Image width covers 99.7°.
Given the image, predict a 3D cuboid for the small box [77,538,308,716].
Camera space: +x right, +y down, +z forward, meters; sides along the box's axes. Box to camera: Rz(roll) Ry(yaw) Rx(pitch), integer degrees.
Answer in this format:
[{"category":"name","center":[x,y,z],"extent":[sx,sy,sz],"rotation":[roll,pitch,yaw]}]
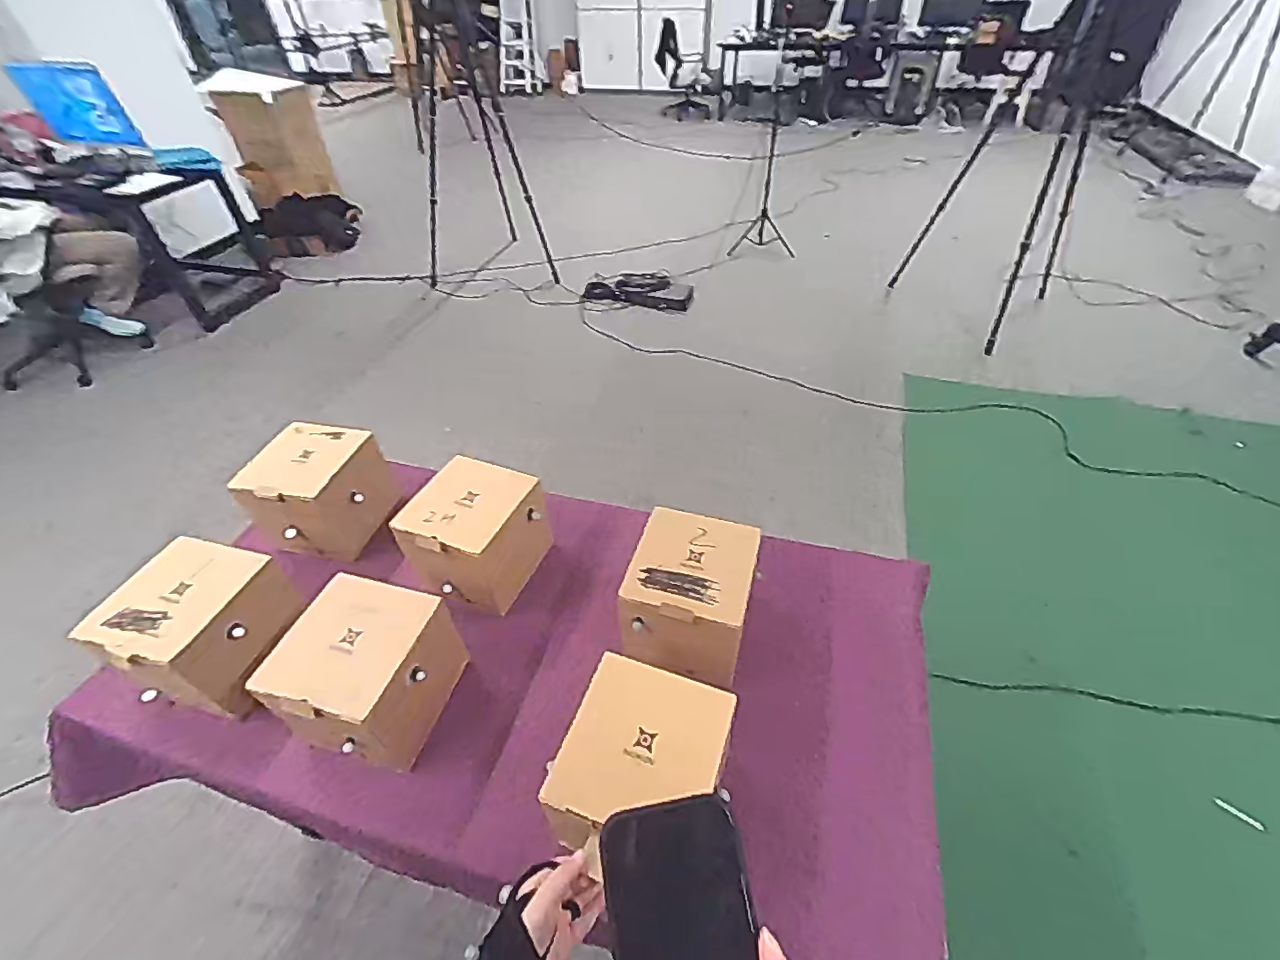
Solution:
[{"category":"small box","center":[-0.627,0.216,0.794],"extent":[0.168,0.176,0.179],"rotation":[10,44,12]}]

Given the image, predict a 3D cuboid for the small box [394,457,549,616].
[{"category":"small box","center":[-0.267,0.094,0.906],"extent":[0.168,0.176,0.179],"rotation":[15,47,18]}]

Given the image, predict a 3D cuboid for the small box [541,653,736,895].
[{"category":"small box","center":[0.005,0.343,0.636],"extent":[0.168,0.176,0.179],"rotation":[14,47,16]}]

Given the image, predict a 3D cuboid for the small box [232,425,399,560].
[{"category":"small box","center":[-0.575,0.025,0.990],"extent":[0.168,0.176,0.179],"rotation":[8,46,9]}]

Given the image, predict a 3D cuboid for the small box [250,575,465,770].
[{"category":"small box","center":[-0.362,0.263,0.737],"extent":[0.168,0.176,0.179],"rotation":[11,45,12]}]
